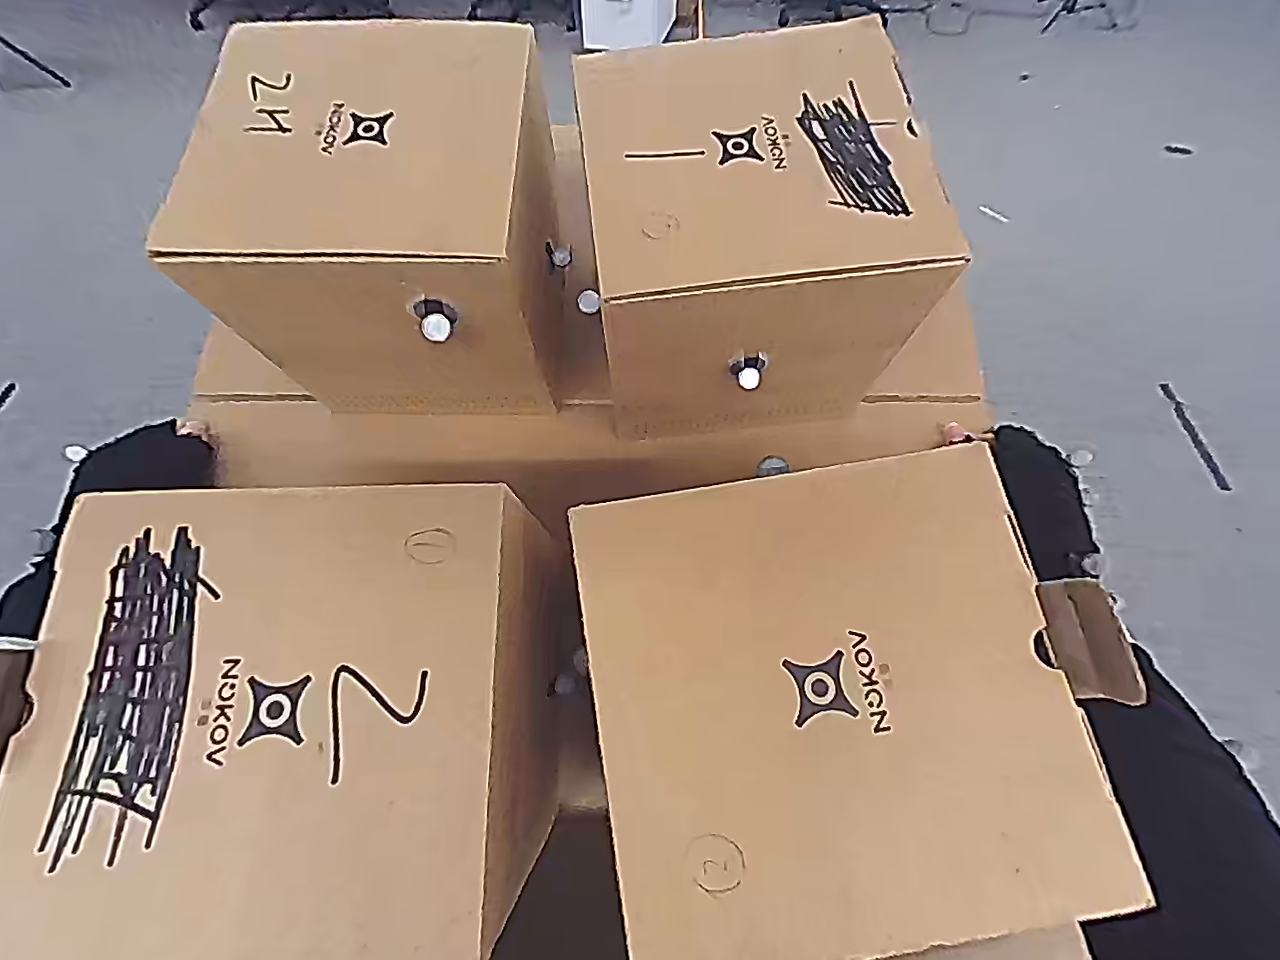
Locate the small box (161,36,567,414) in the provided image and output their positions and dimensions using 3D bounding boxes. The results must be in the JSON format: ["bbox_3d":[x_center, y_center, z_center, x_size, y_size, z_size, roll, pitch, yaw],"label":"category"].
[{"bbox_3d":[-0.149,-0.155,0.369,0.179,0.176,0.168,2,70,2],"label":"small box"}]
